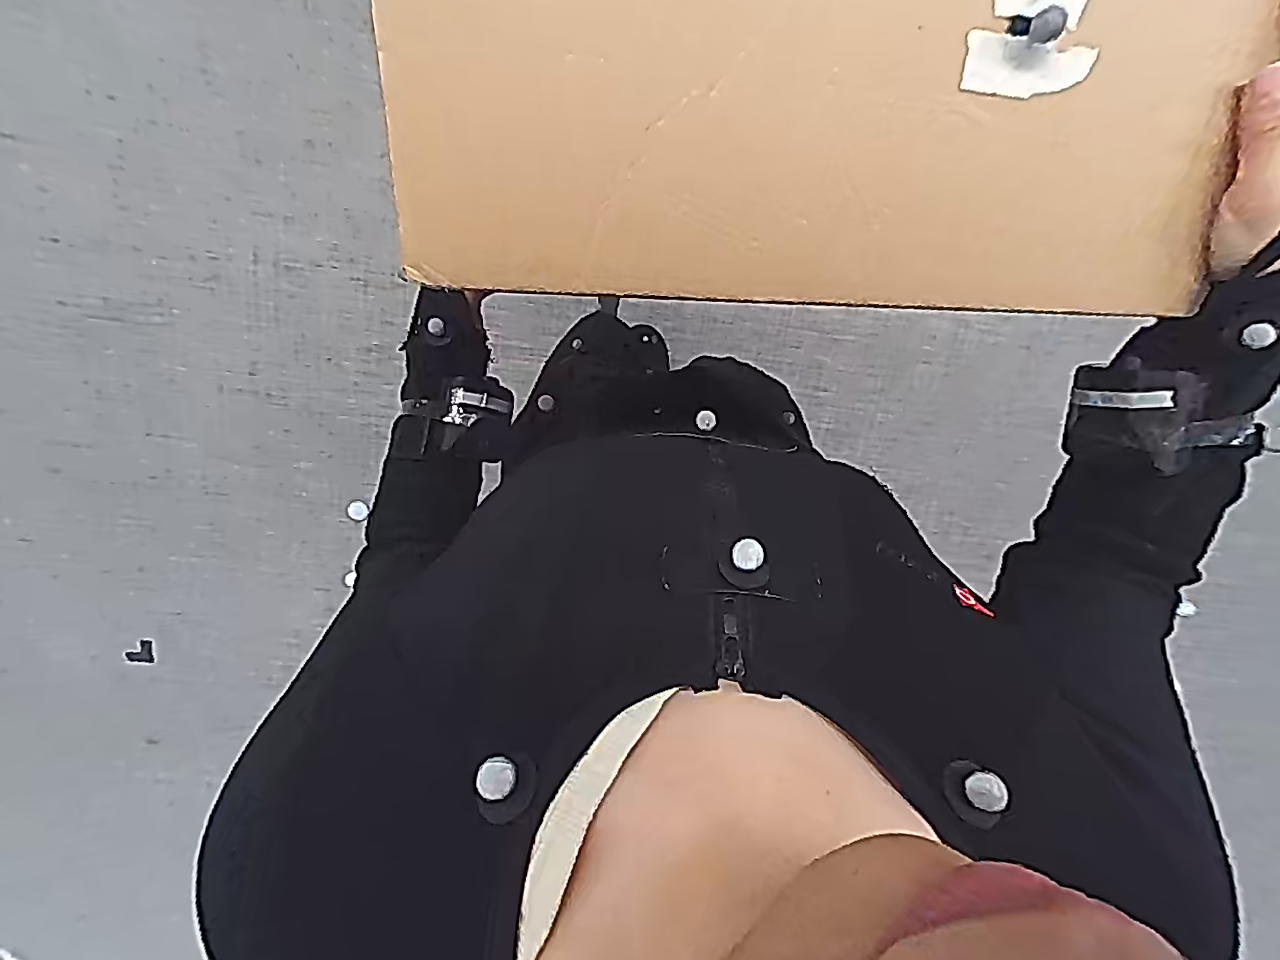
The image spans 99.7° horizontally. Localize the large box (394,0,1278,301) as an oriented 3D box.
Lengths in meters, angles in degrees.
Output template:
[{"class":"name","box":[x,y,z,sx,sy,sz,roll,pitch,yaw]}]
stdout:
[{"class":"large box","box":[0.079,-0.292,0.360,0.408,0.320,0.320,-1,112,-7]}]
